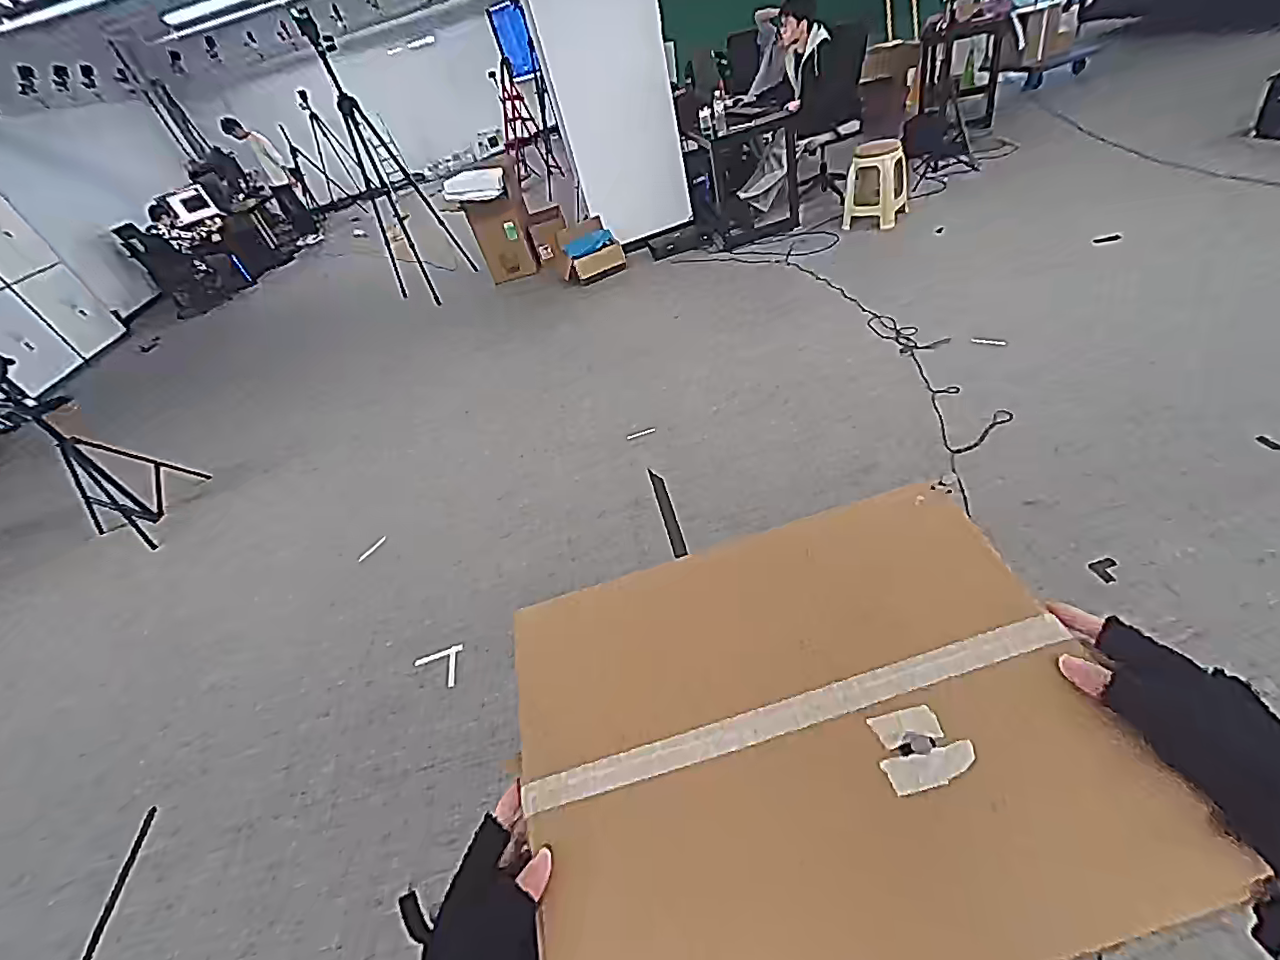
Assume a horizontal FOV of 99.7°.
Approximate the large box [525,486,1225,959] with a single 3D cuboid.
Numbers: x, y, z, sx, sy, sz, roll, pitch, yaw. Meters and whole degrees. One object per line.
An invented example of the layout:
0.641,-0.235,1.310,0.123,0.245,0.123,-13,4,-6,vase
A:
0.143,0.269,0.515,0.408,0.320,0.320,-18,48,-1,large box
